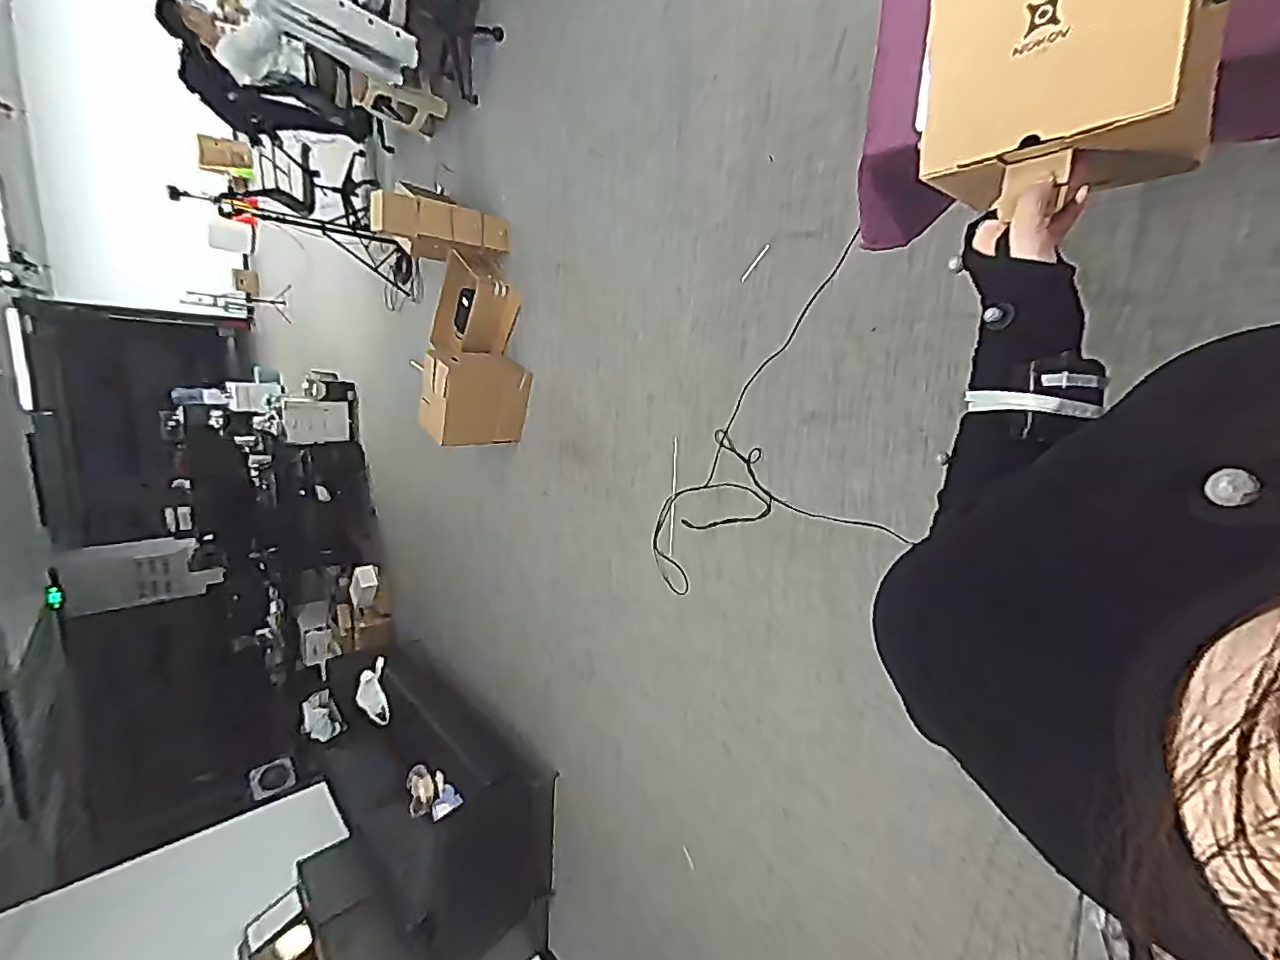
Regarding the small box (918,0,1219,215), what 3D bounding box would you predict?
[{"bbox_3d":[0.361,-0.348,0.459,0.168,0.176,0.179,11,106,47],"label":"small box"}]
